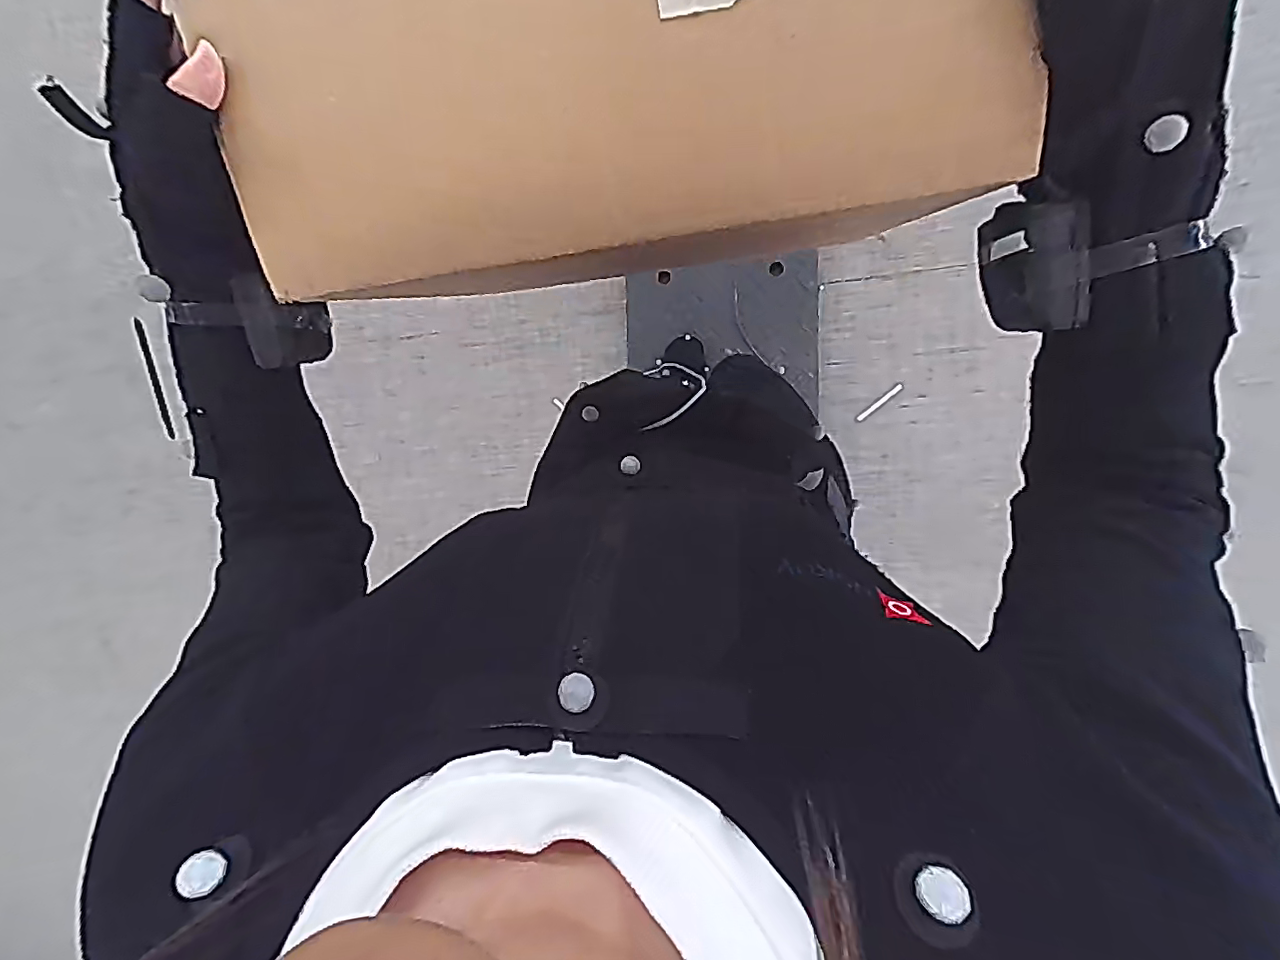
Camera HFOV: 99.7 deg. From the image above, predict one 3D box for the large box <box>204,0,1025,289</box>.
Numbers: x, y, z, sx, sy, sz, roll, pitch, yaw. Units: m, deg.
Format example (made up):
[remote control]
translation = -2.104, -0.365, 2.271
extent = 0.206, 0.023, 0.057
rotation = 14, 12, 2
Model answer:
[large box]
translation = -0.017, -0.328, 0.387
extent = 0.408, 0.320, 0.320
rotation = -5, 109, 9
